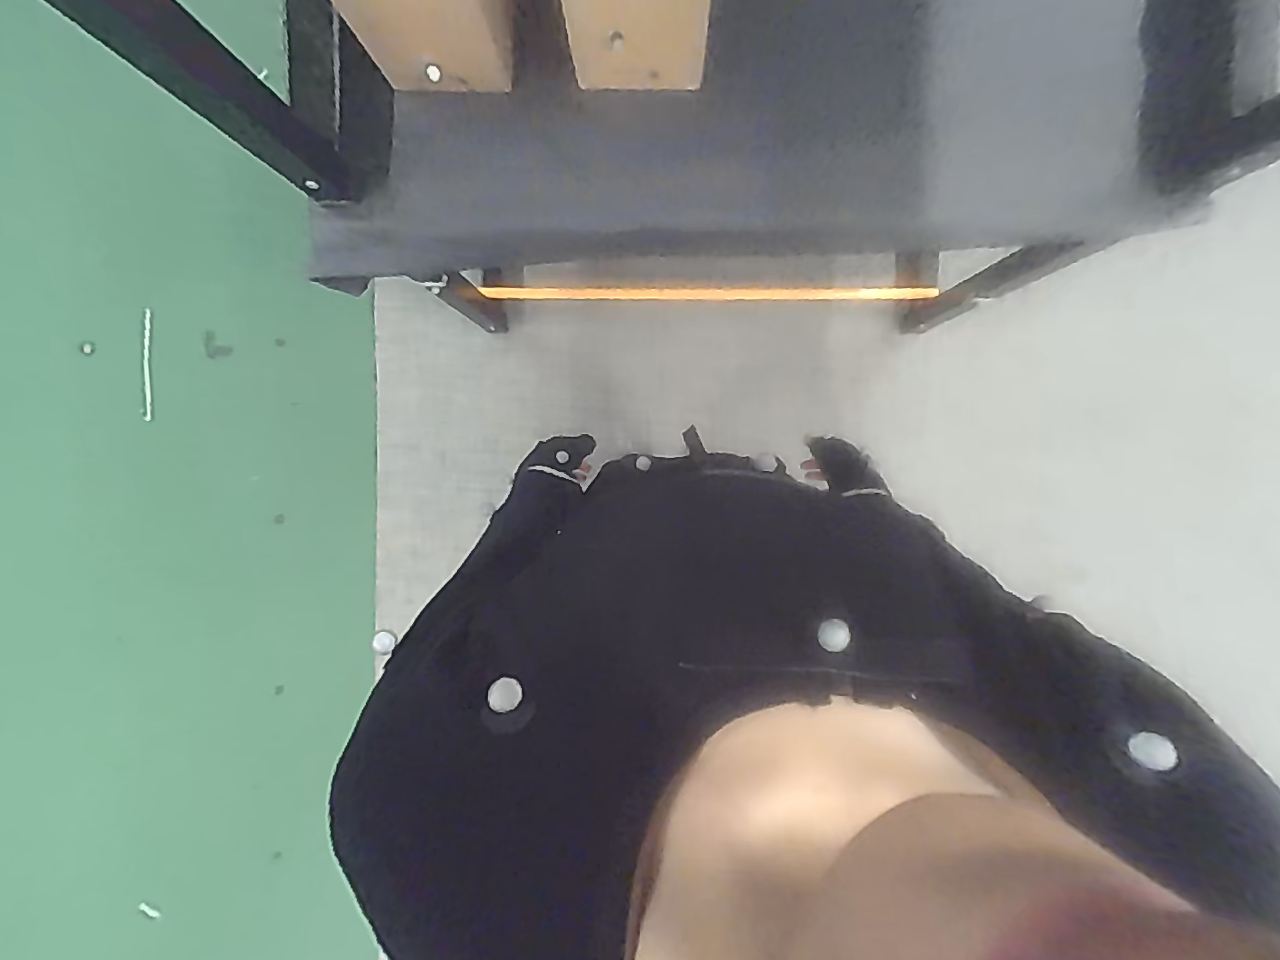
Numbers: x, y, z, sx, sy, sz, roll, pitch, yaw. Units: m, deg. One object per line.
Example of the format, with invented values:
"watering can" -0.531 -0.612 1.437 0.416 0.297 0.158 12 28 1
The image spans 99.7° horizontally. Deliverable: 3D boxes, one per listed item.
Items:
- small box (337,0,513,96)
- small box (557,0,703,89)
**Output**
"small box" -0.258 -0.615 0.659 0.168 0.176 0.179 2 93 2
"small box" -0.005 -0.611 0.654 0.168 0.176 0.179 1 92 2
